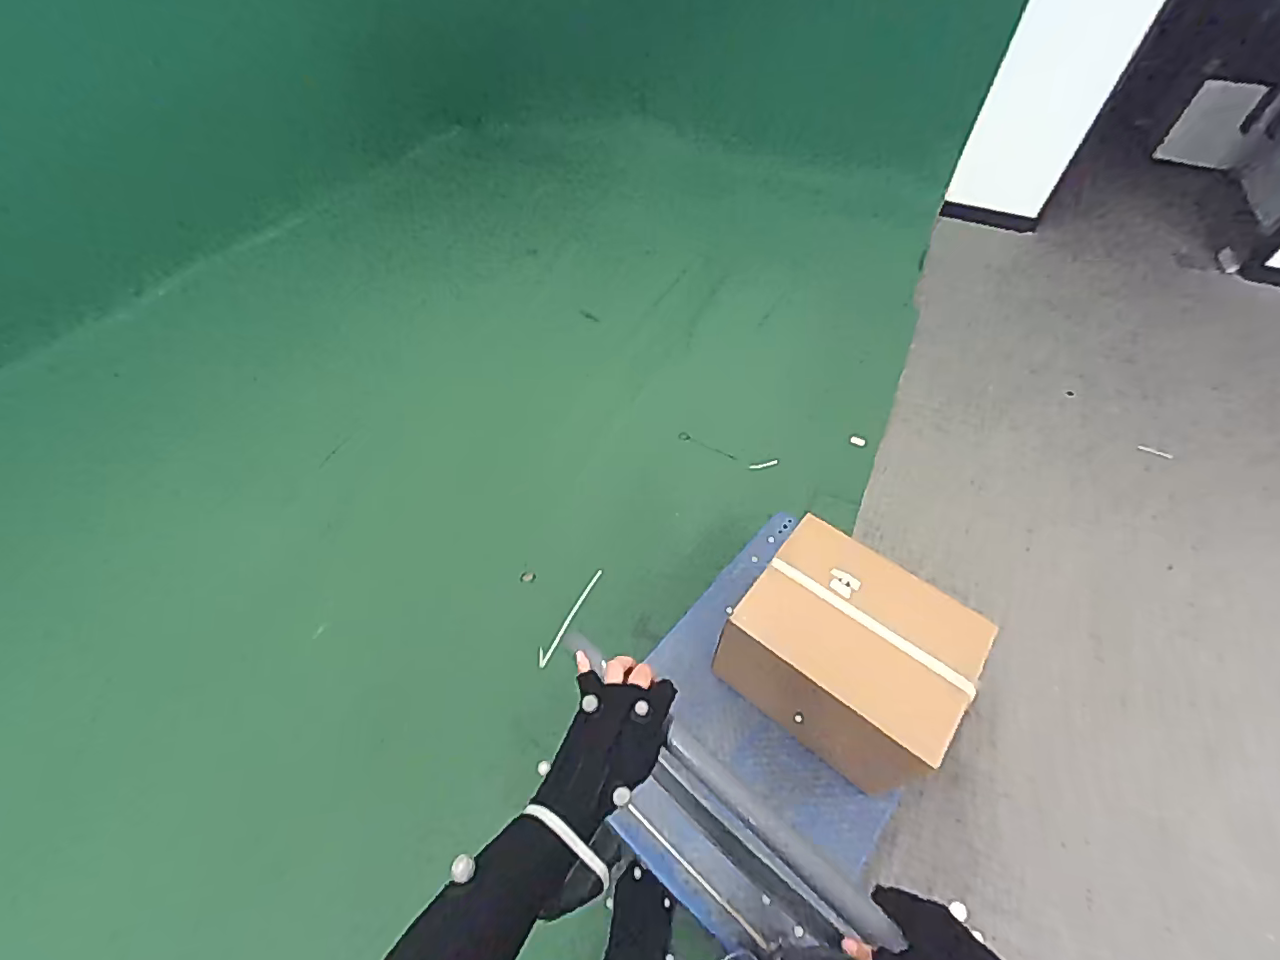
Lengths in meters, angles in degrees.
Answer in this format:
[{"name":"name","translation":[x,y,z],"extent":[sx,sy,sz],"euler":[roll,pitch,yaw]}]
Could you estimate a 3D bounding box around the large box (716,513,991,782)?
[{"name":"large box","translation":[0.419,0.350,1.139],"extent":[0.408,0.320,0.320],"euler":[32,59,23]}]
